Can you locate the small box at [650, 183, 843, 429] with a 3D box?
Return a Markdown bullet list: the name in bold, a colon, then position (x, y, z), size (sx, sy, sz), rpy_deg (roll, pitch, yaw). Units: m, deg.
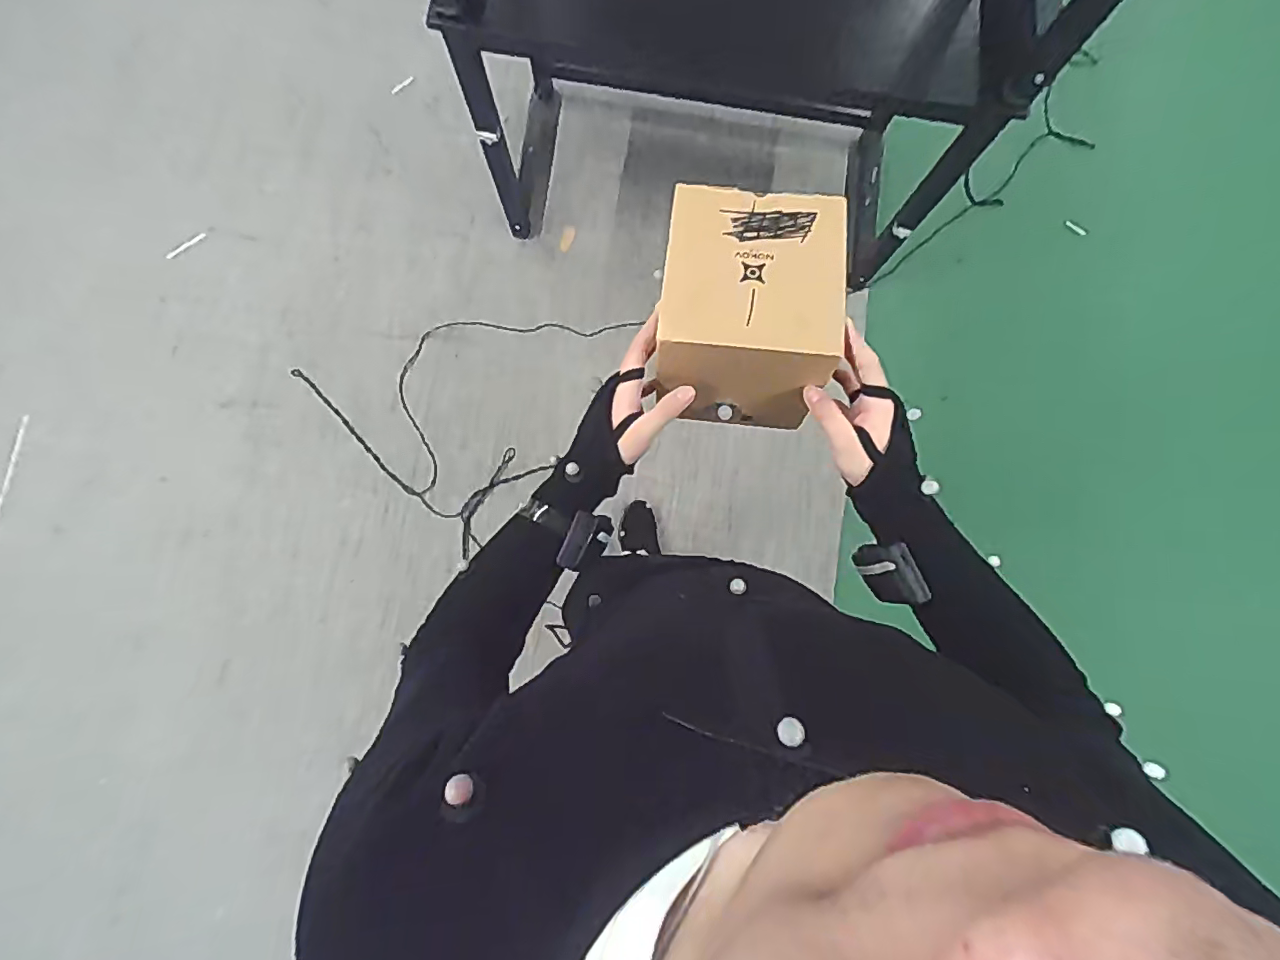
- **small box**: position (0.103, -0.173, 0.571), size (0.168, 0.176, 0.179), rpy_deg (7, 74, 5)
